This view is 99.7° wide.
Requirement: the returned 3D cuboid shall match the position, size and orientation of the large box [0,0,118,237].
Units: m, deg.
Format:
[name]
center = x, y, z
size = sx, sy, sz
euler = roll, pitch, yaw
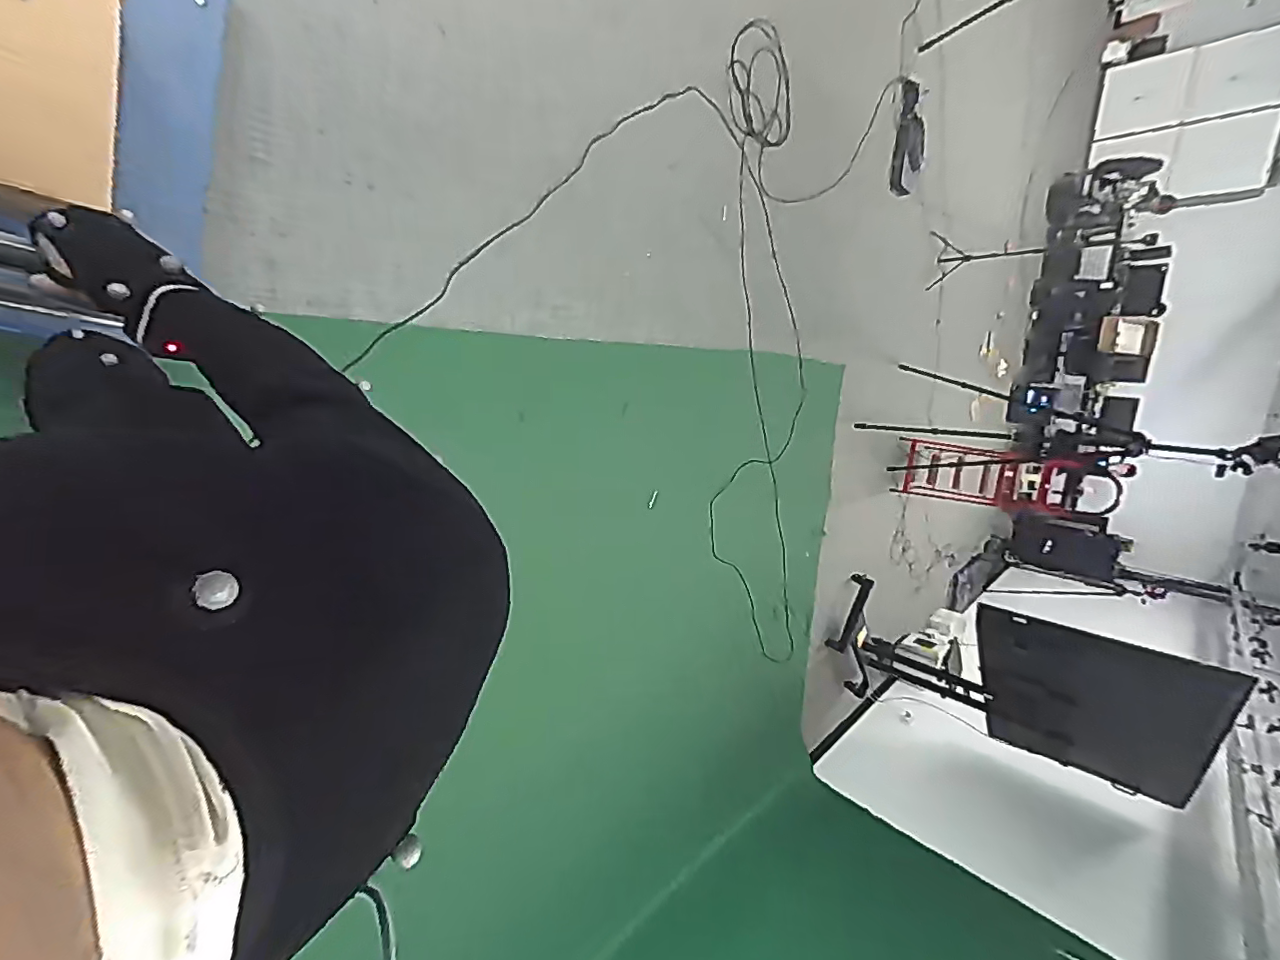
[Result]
[large box]
center = -0.971, -0.622, 0.777
size = 0.320, 0.320, 0.408
euler = 2, 98, -46
